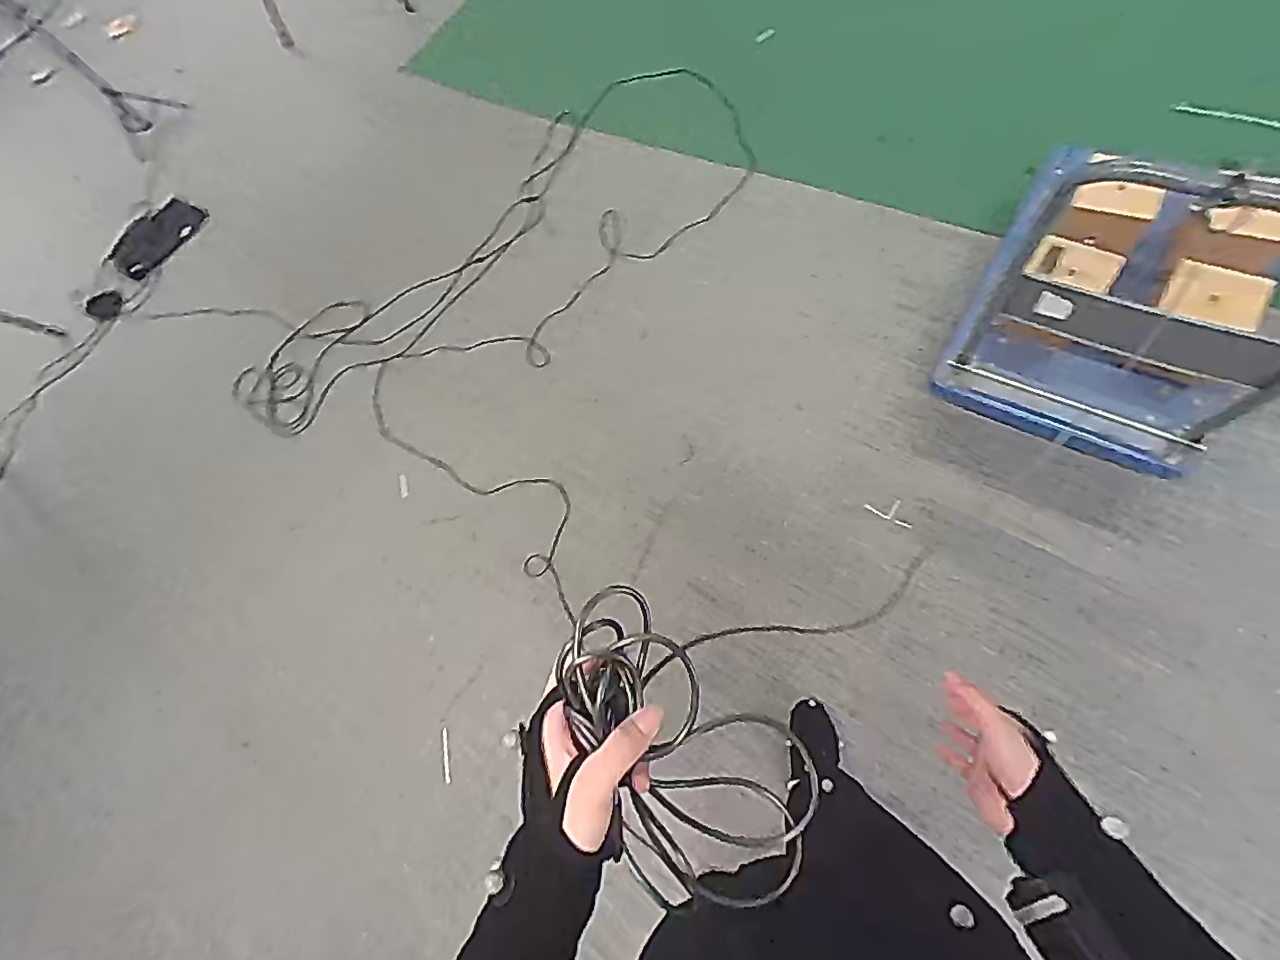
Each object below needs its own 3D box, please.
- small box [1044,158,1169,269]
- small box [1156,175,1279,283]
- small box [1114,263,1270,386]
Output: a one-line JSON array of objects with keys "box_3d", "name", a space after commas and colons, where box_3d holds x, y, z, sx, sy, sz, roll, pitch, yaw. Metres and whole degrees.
[{"box_3d": [1.166, -0.667, 1.367, 0.168, 0.176, 0.179, 25, 78, 21], "name": "small box"}, {"box_3d": [1.380, -0.572, 1.275, 0.168, 0.176, 0.179, 24, 79, 22], "name": "small box"}, {"box_3d": [1.238, -0.348, 1.229, 0.168, 0.176, 0.179, 29, 80, 22], "name": "small box"}]
